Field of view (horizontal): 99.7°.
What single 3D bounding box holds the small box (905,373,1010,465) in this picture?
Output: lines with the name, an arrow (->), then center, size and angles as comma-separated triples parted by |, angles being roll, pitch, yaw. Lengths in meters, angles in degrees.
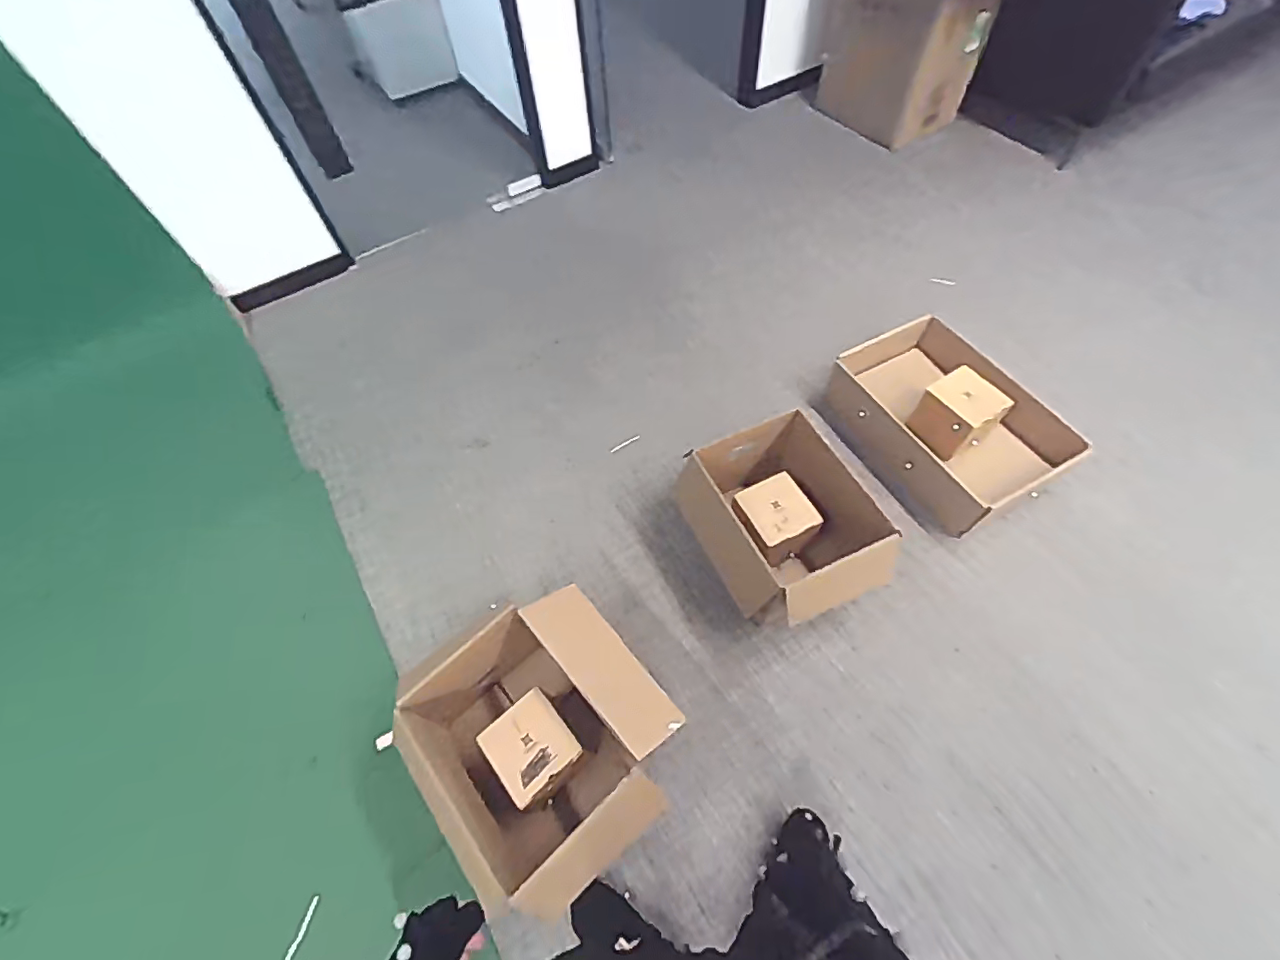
small box -> 0.928, -0.177, 1.600 | 0.168, 0.176, 0.179 | -29, 61, -15
